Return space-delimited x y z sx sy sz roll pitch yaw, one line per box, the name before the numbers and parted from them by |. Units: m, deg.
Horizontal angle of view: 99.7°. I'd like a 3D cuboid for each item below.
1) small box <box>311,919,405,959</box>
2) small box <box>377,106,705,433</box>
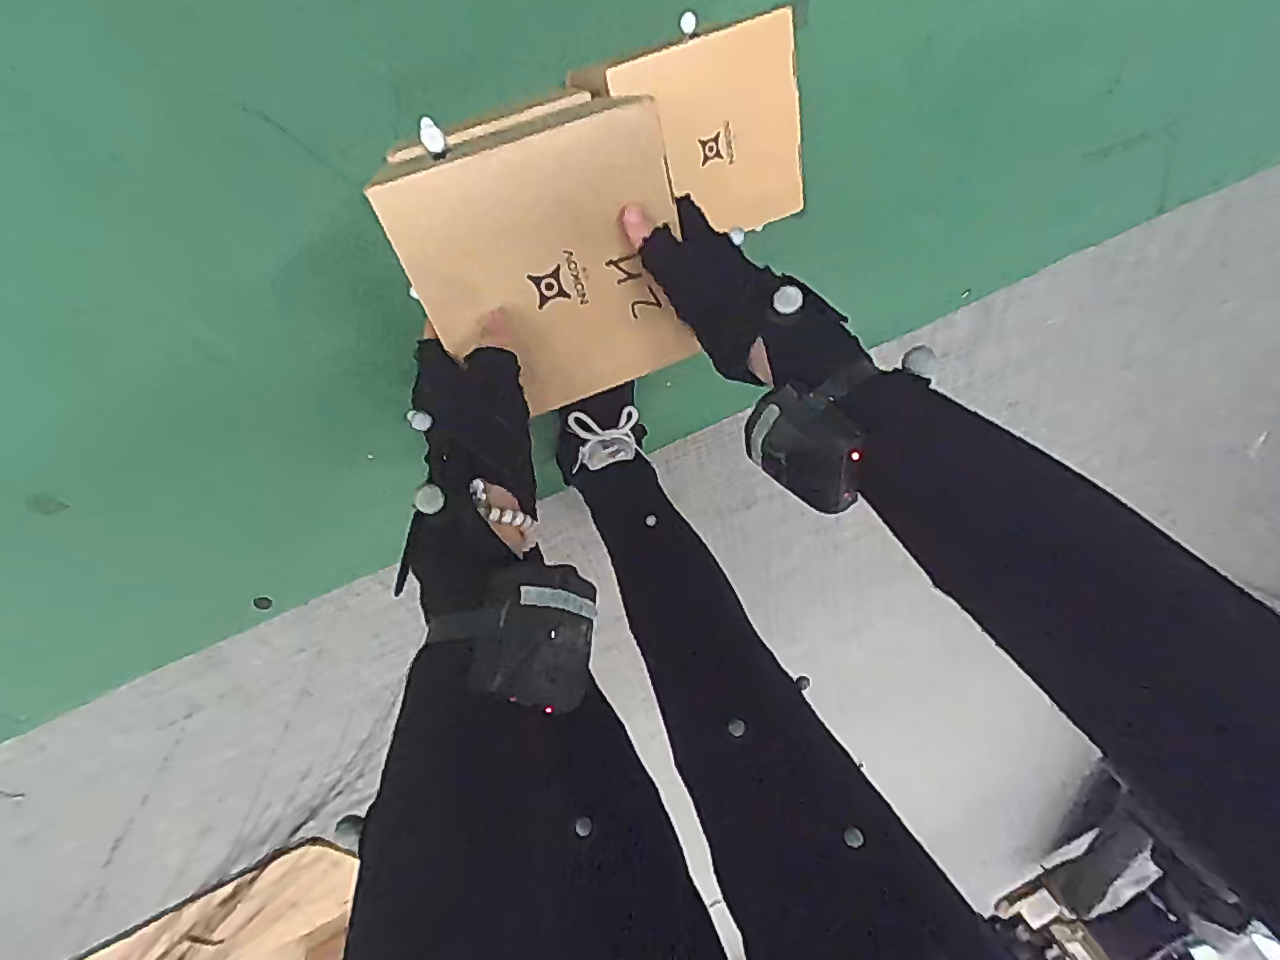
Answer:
small box | -0.709 1.242 1.353 0.179 0.176 0.168 -28 130 -1
small box | -0.072 -0.167 0.417 0.179 0.176 0.168 -21 127 -7
